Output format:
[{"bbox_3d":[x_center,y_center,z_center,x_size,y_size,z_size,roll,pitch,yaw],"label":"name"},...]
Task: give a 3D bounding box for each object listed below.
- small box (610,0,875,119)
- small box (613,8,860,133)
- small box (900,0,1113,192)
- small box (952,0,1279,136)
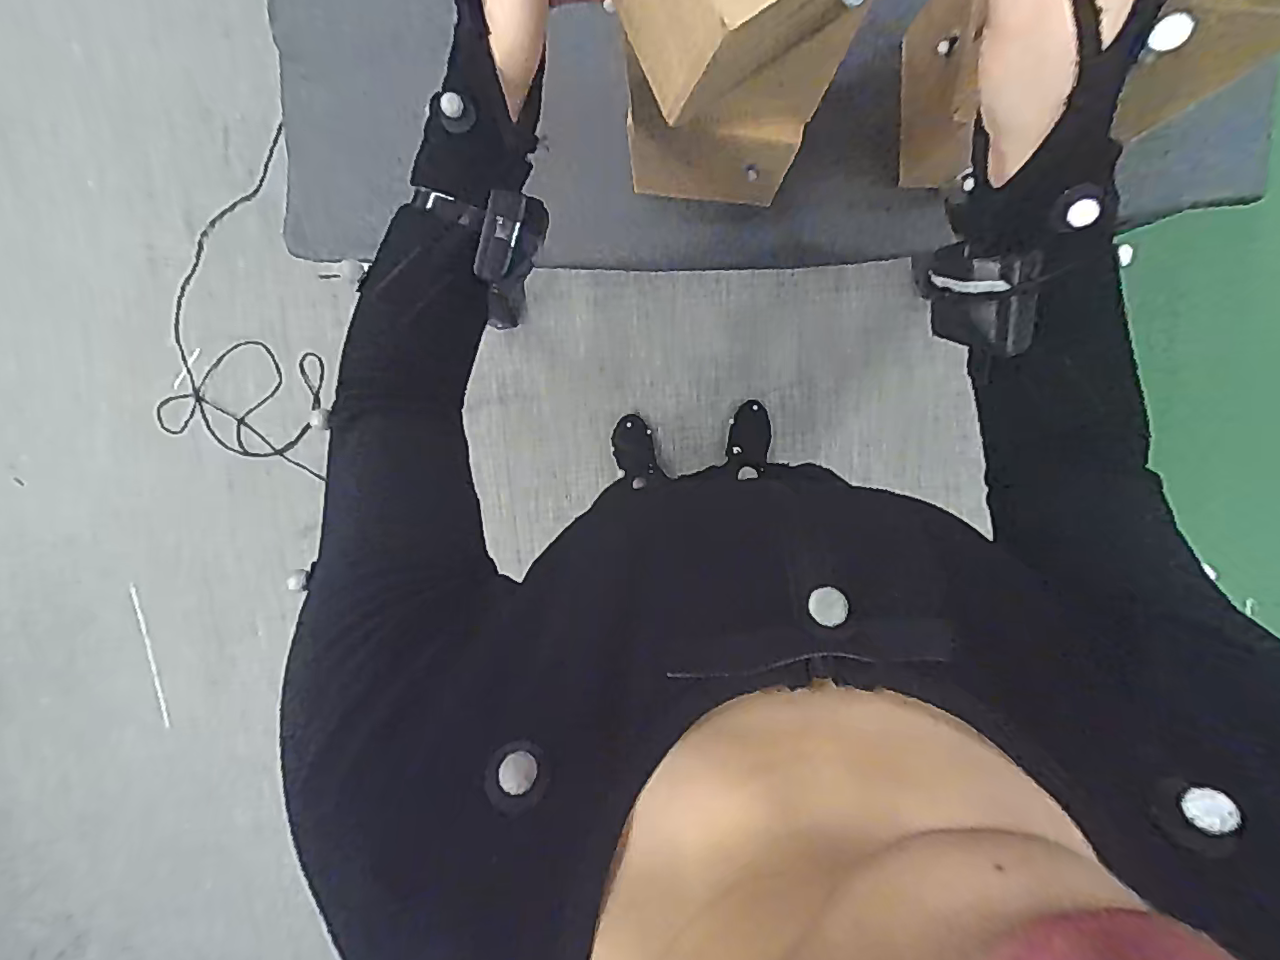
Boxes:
[{"bbox_3d":[0.053,-0.320,0.257,0.168,0.176,0.179,-28,110,7],"label":"small box"},{"bbox_3d":[0.069,-0.411,0.437,0.179,0.176,0.168,-2,97,4],"label":"small box"},{"bbox_3d":[0.397,-0.437,0.582,0.168,0.176,0.179,-2,98,4],"label":"small box"},{"bbox_3d":[0.388,-0.400,0.423,0.179,0.176,0.168,9,98,3],"label":"small box"}]
